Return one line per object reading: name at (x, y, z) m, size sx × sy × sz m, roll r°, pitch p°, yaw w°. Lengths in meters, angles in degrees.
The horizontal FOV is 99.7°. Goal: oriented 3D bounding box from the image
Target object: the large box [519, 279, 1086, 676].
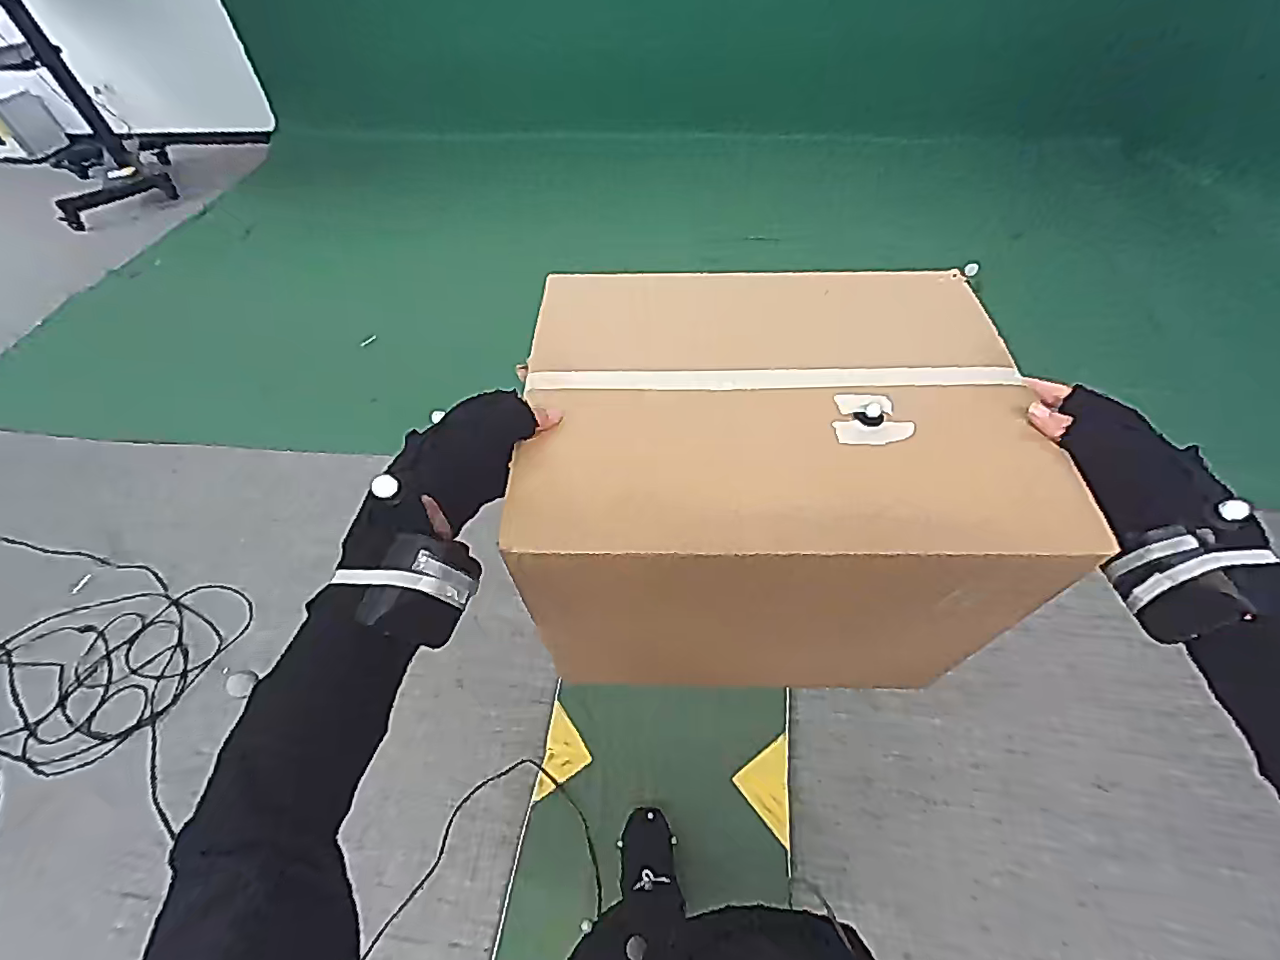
large box at (0.111, 0.008, 0.579) m, size 0.408 × 0.320 × 0.320 m, roll 0°, pitch 55°, yaw 0°
